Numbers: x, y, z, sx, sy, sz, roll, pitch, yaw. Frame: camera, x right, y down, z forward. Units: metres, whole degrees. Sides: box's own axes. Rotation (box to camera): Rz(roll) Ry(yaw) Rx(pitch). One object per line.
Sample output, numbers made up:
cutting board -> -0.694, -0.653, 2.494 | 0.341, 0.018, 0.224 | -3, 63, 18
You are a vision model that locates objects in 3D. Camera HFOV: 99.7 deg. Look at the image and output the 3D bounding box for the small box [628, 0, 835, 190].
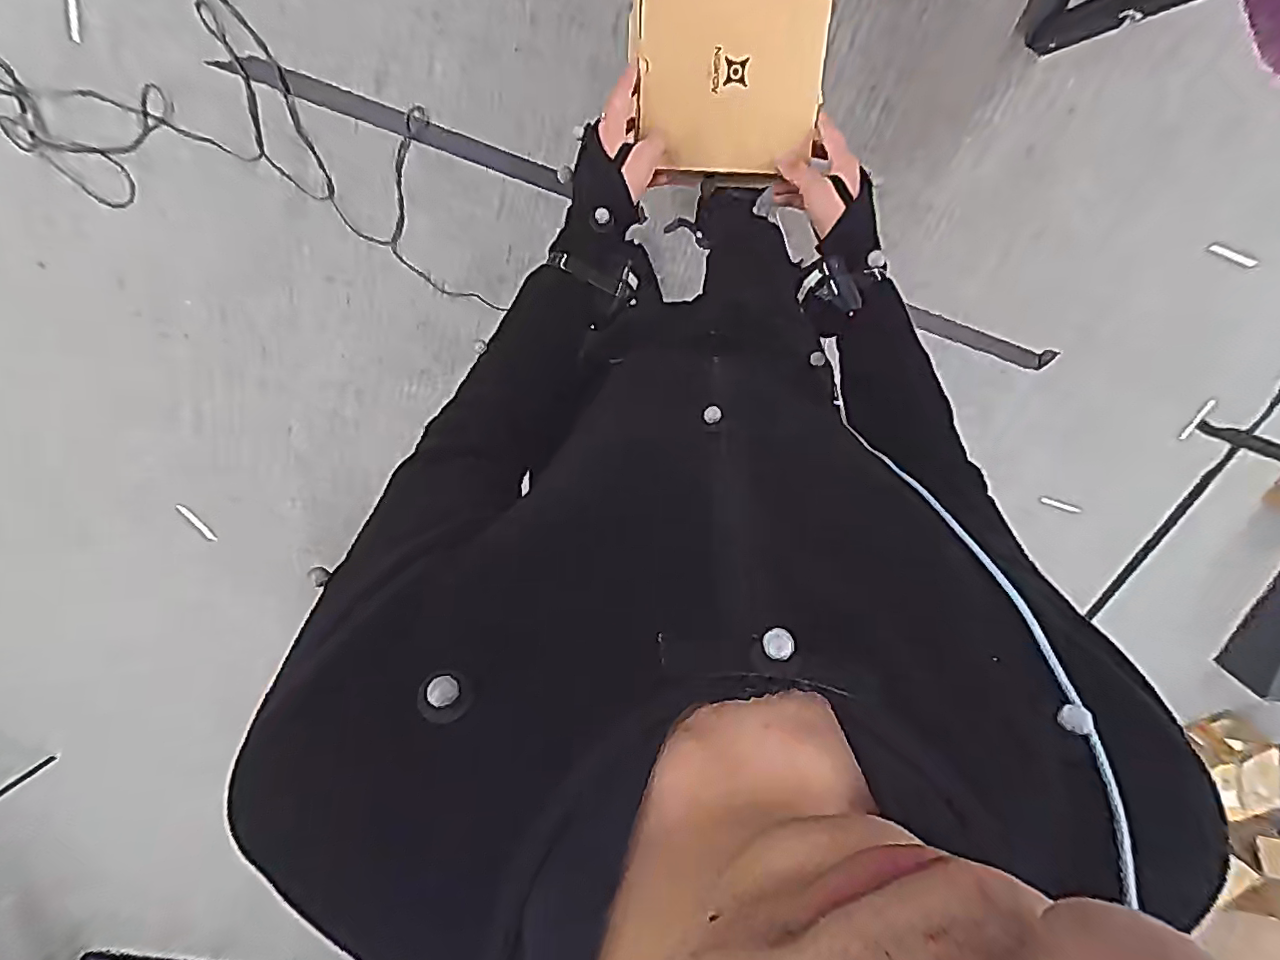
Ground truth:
small box -> 0.079, -0.406, 0.570 | 0.179, 0.176, 0.168 | 0, 115, -3
